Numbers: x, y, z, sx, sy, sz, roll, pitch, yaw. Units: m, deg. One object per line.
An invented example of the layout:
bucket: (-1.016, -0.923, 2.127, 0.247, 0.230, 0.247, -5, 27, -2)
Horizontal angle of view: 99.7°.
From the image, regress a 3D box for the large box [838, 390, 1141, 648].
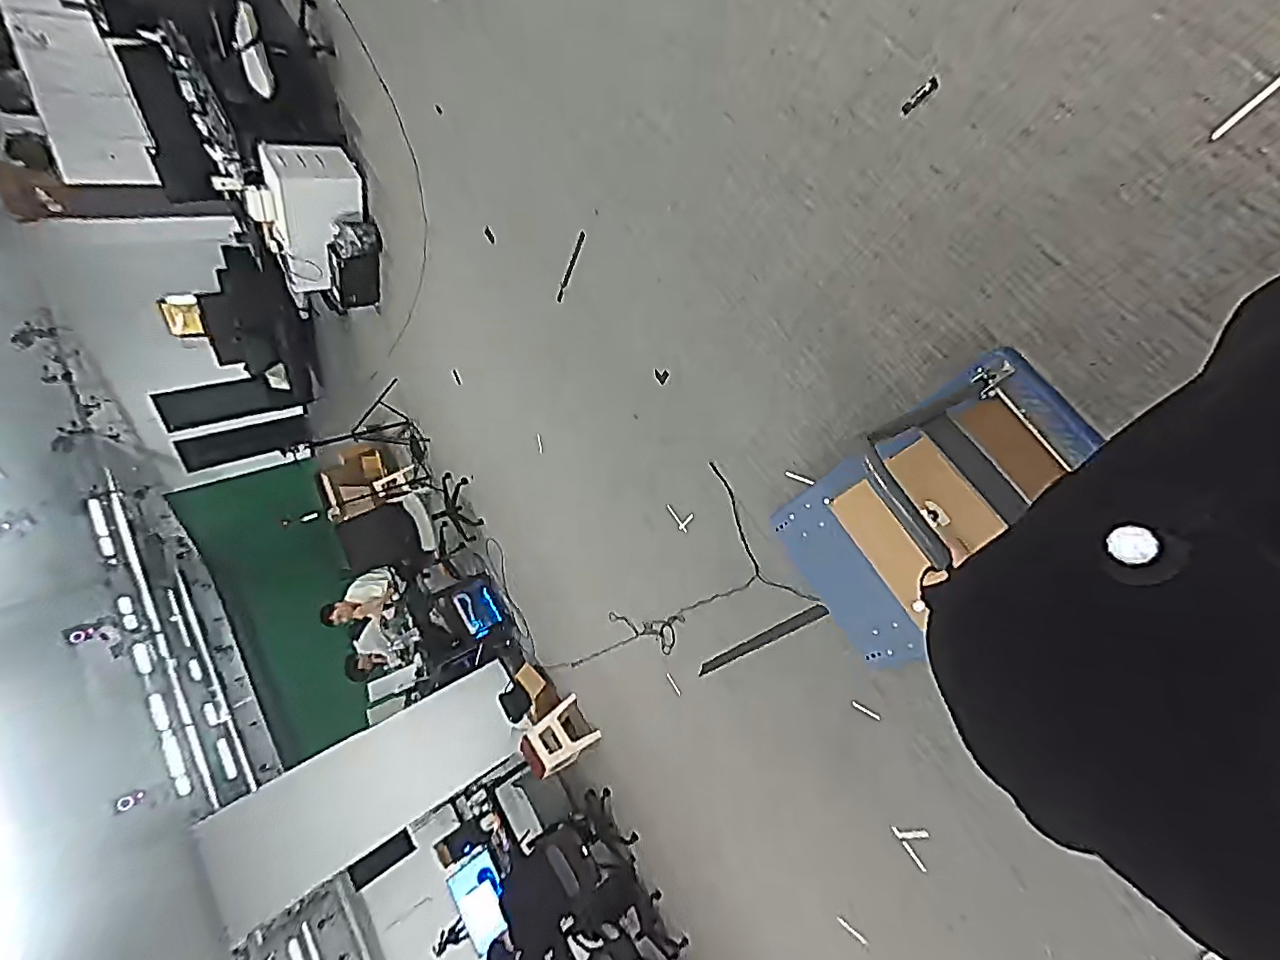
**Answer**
large box: (0.732, 0.079, 1.164, 0.408, 0.320, 0.320, 57, 144, 15)
